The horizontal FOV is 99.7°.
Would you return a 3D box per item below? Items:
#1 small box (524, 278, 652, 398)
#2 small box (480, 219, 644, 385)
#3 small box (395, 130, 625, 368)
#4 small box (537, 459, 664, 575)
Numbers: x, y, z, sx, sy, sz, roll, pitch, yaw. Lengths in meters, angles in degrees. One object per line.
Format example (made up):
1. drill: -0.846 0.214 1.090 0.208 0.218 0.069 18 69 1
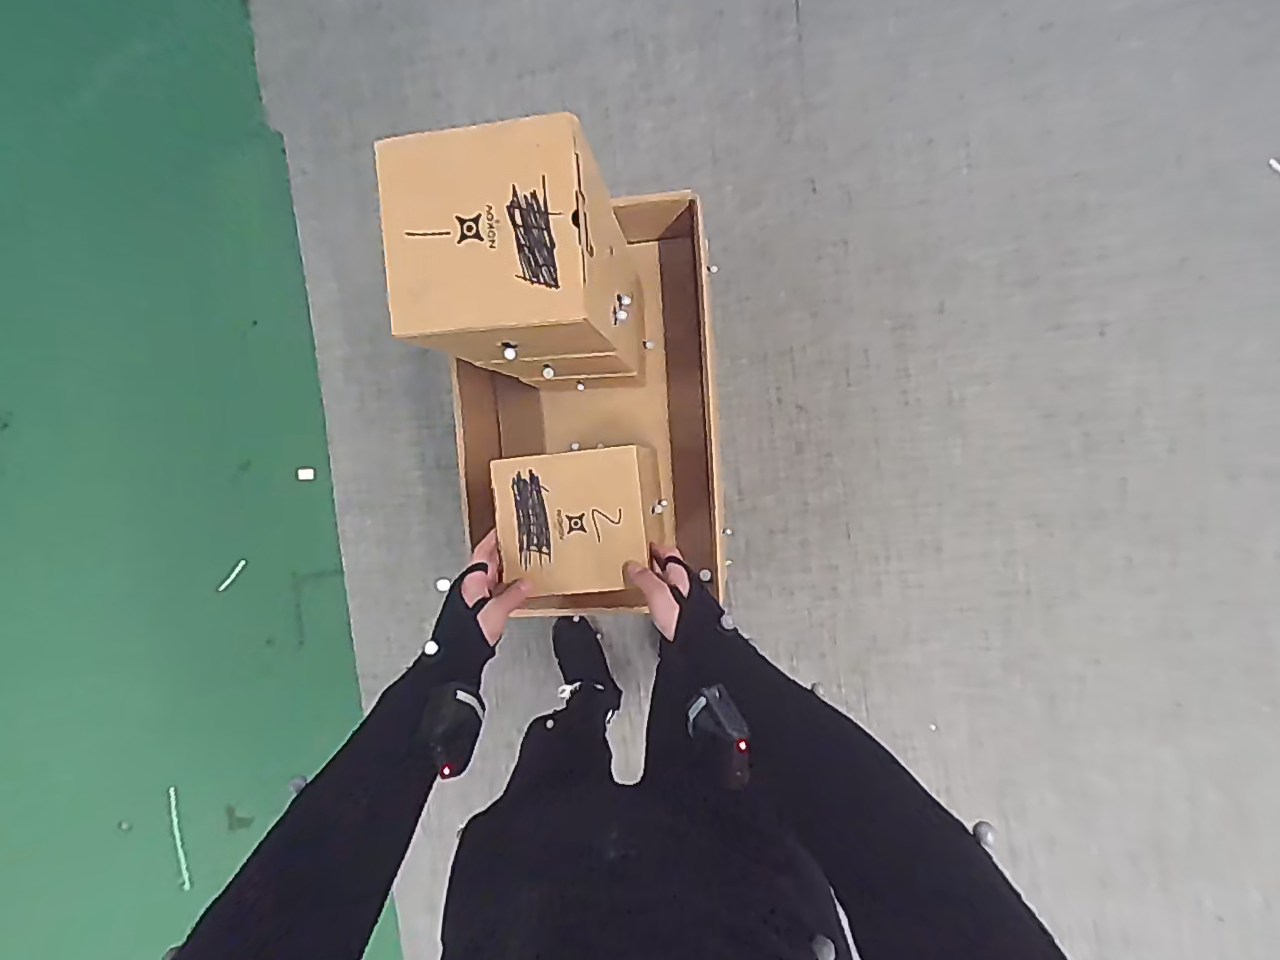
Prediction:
1. small box: -0.076 -0.220 0.859 0.179 0.176 0.168 0 93 6
2. small box: -0.093 -0.215 0.696 0.179 0.176 0.168 -1 94 7
3. small box: -0.110 -0.206 0.532 0.179 0.176 0.168 -2 93 7
4. small box: -0.053 0.052 0.863 0.179 0.176 0.168 -4 90 6
